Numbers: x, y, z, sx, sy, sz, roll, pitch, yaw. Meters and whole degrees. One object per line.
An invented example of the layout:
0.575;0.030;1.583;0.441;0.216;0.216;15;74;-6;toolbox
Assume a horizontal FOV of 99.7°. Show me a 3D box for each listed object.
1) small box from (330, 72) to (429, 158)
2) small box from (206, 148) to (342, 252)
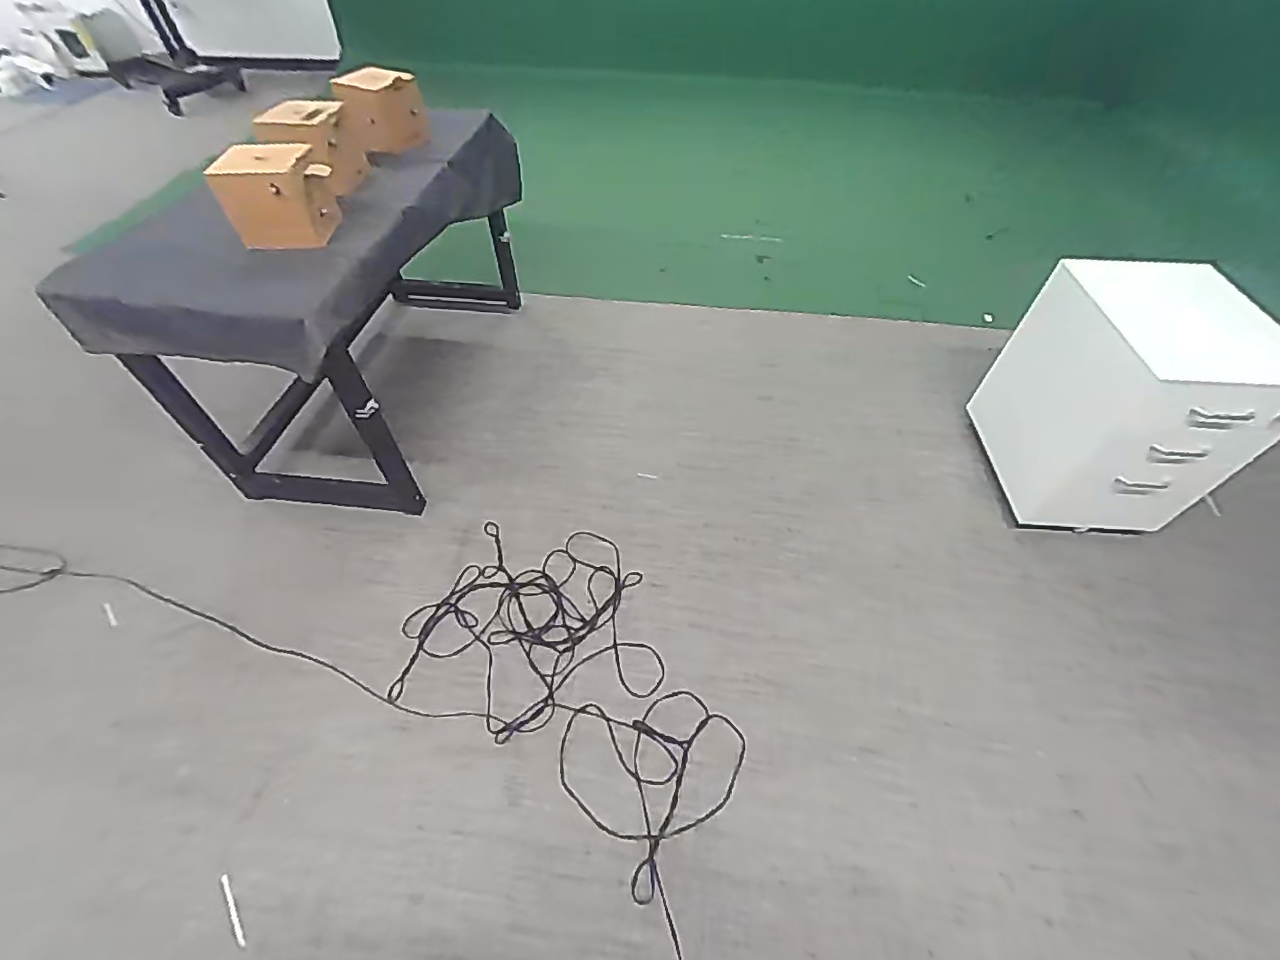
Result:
-0.765;-1.083;1.610;0.179;0.176;0.168;21;52;17;small box
-0.826;-0.640;1.242;0.179;0.176;0.168;-3;50;-3;small box
